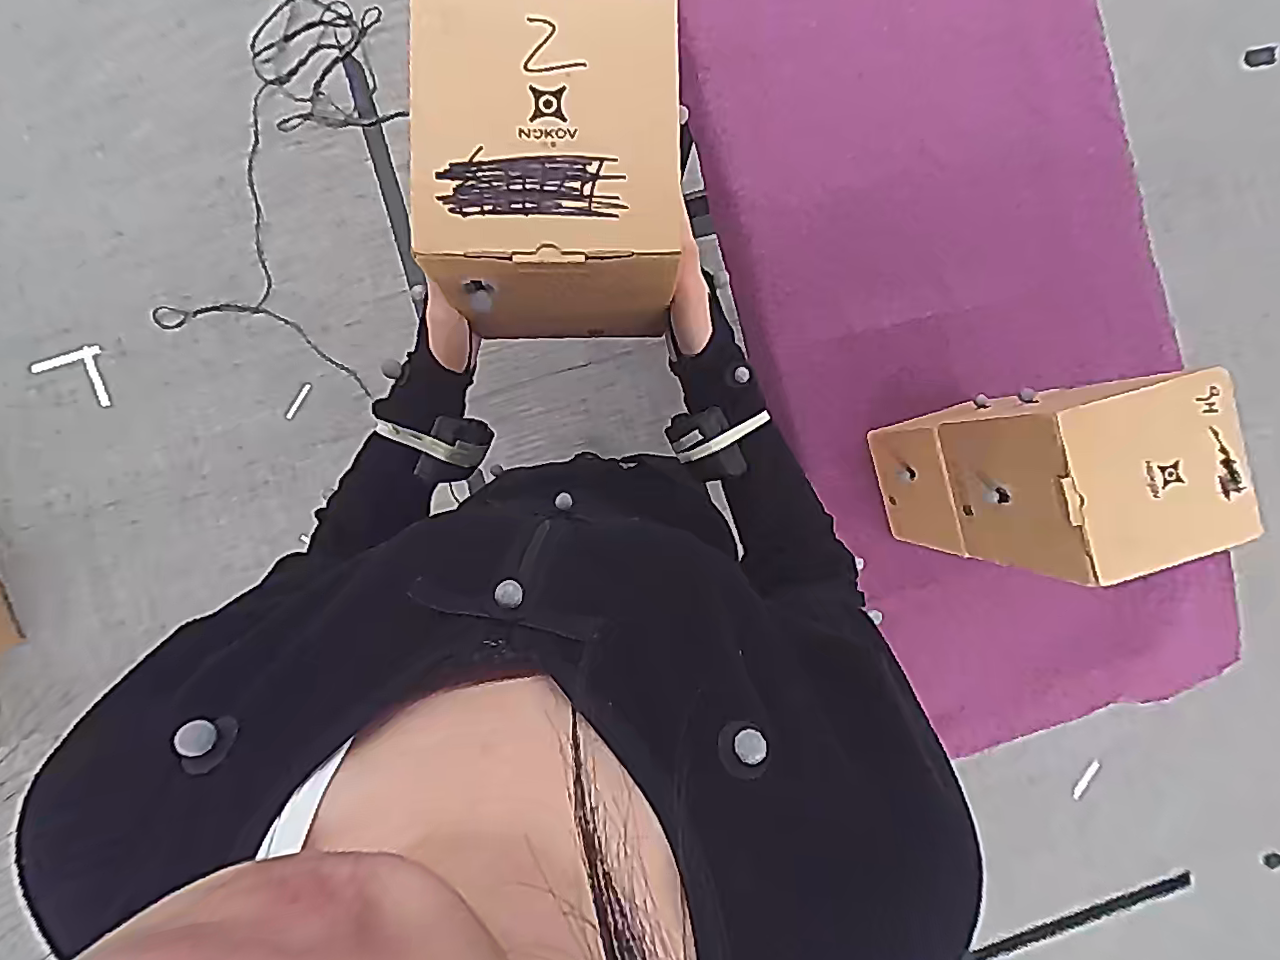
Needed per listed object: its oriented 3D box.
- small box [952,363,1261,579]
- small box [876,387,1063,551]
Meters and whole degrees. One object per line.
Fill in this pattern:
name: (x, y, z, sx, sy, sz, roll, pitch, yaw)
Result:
small box: (0.463, -0.009, 0.570, 0.179, 0.176, 0.168, -15, 93, -4)
small box: (0.445, -0.014, 0.733, 0.179, 0.176, 0.168, -16, 93, -4)
